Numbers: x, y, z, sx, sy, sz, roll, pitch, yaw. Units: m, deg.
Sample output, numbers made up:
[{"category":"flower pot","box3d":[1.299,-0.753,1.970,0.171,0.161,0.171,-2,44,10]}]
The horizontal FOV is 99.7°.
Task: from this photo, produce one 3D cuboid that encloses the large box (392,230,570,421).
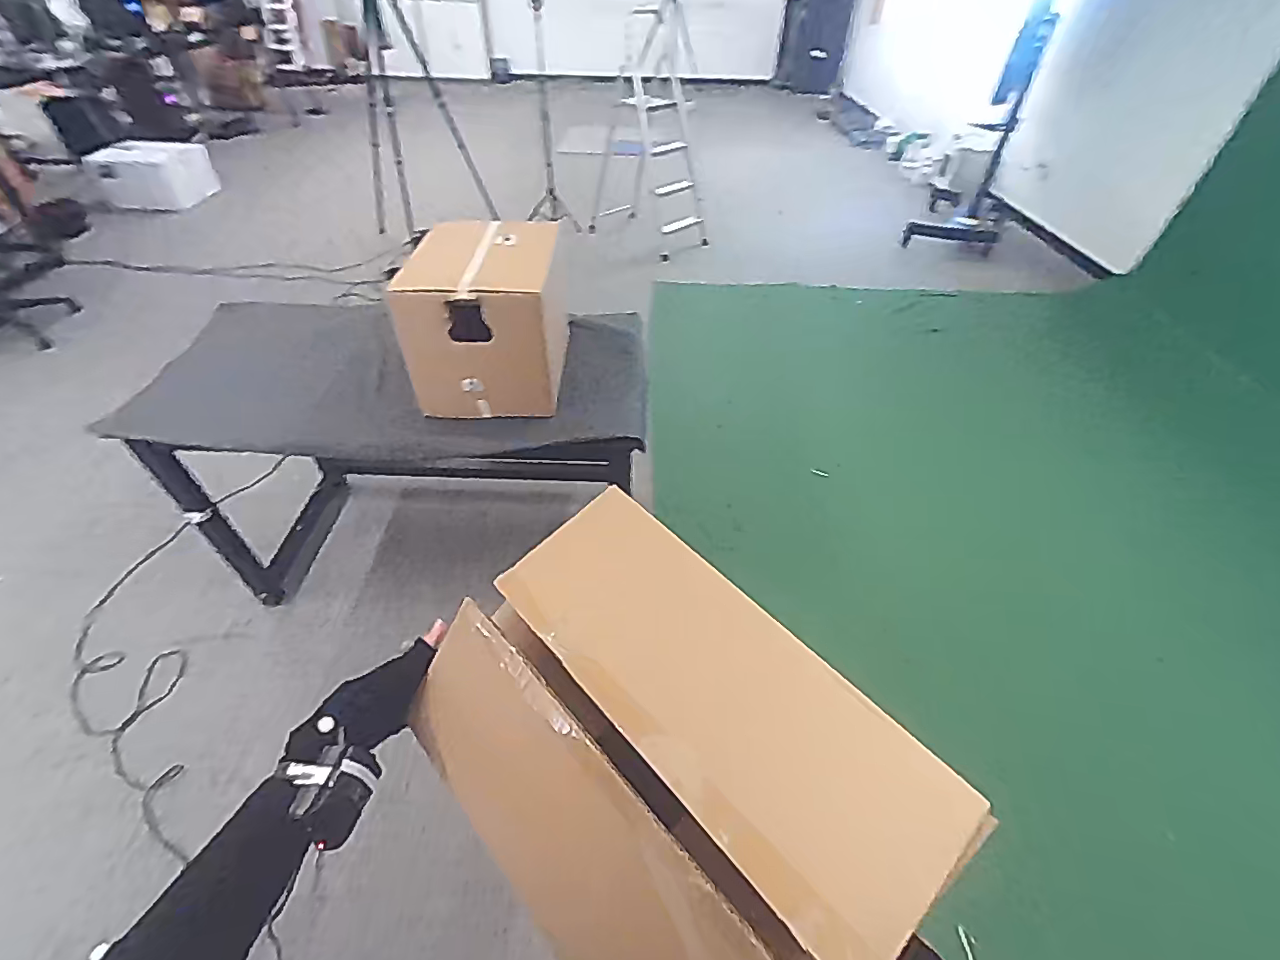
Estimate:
[{"category":"large box","box3d":[-0.350,-0.383,1.323,0.320,0.320,0.408,0,42,-1]}]
